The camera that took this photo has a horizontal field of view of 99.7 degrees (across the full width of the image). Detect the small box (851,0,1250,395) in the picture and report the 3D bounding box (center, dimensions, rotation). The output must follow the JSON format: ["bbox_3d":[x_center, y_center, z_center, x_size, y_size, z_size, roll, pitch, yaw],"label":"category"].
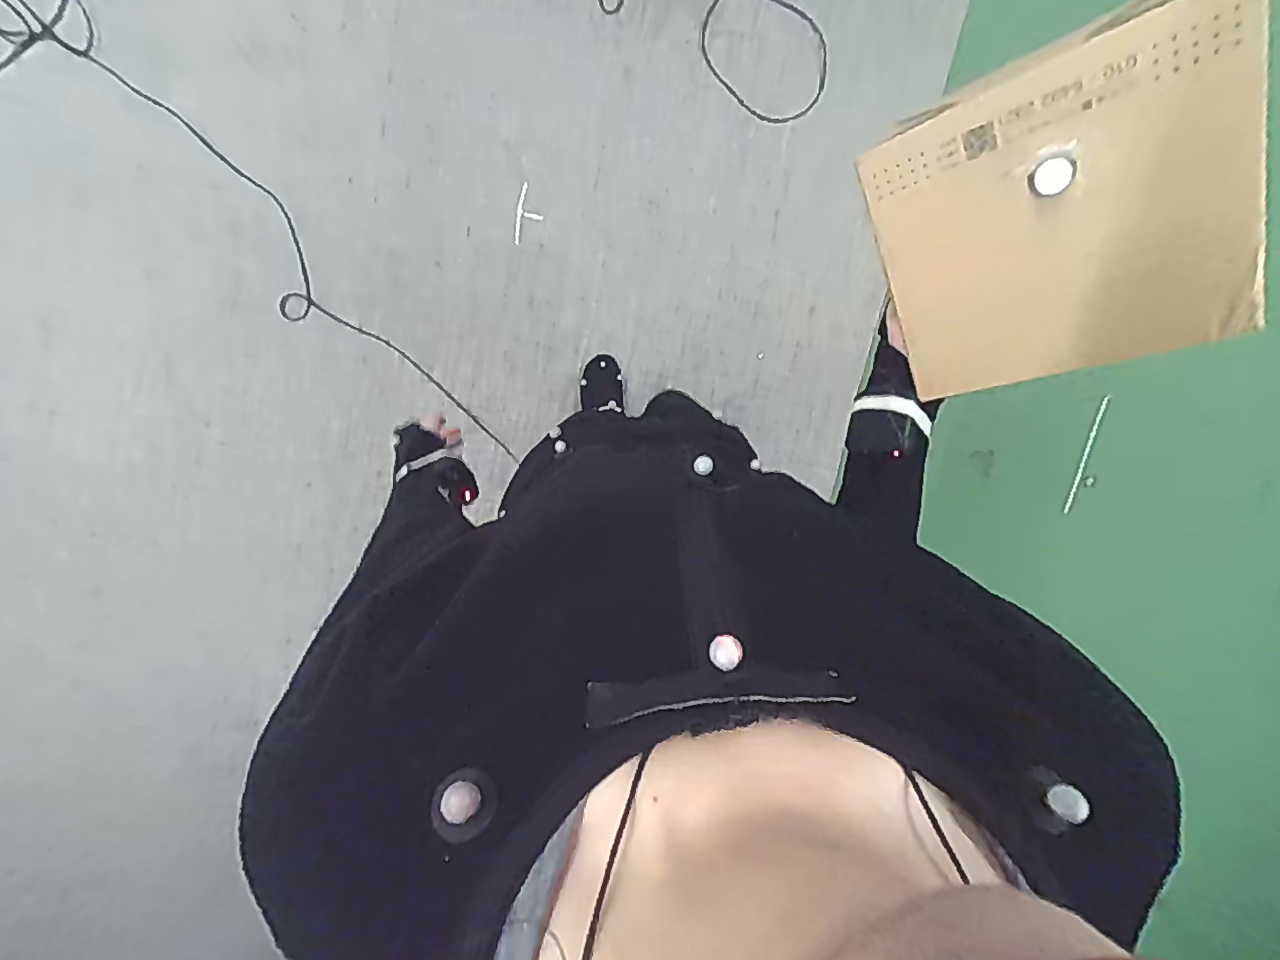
[{"bbox_3d":[0.257,-0.185,0.358,0.168,0.179,0.176,-11,117,38],"label":"small box"}]
